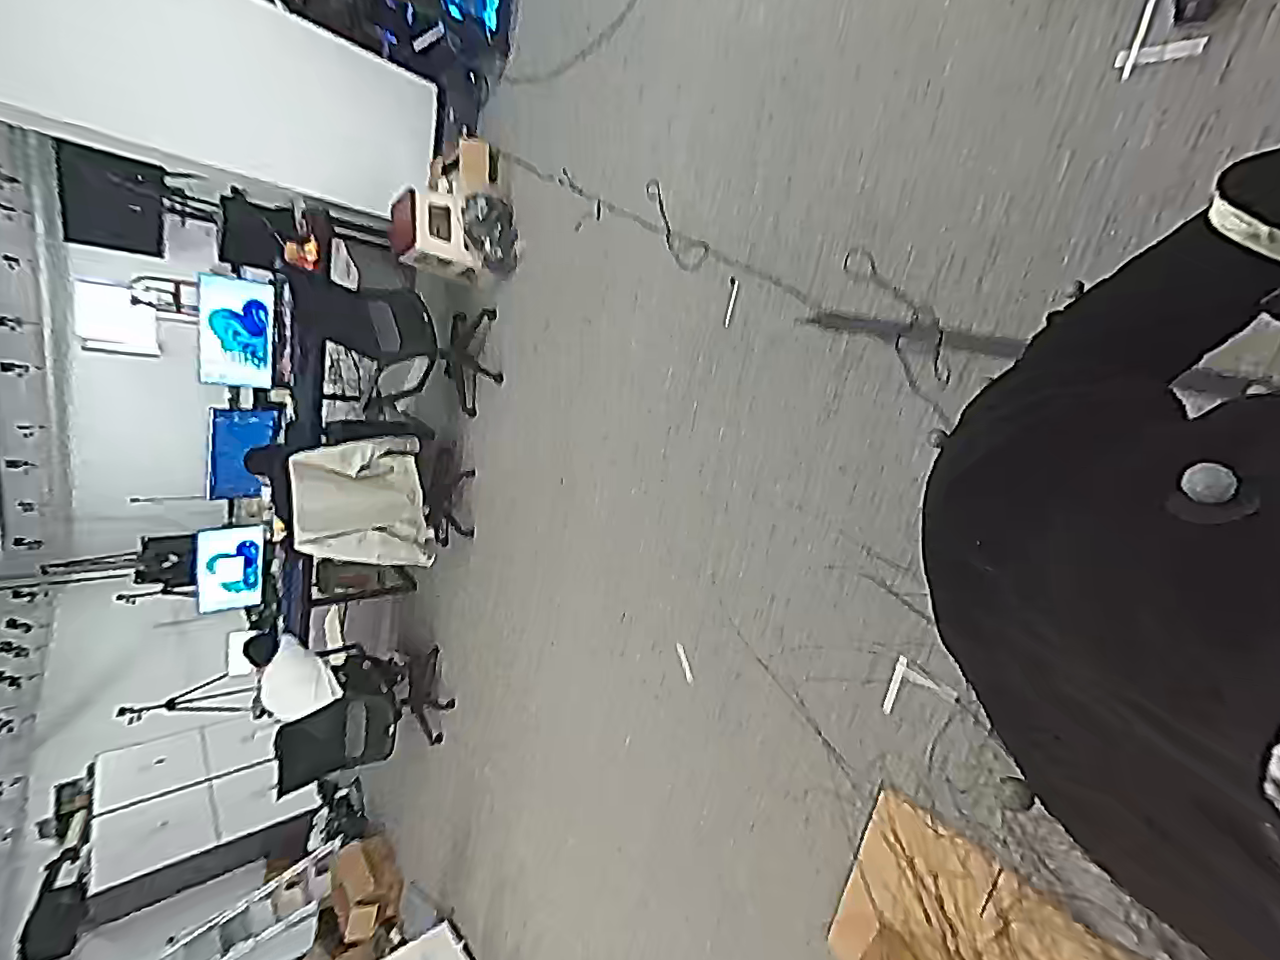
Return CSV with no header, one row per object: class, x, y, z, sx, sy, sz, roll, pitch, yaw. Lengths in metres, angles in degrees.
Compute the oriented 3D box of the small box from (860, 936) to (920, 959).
small box,0.669,1.358,1.419,0.179,0.176,0.168,19,106,44
